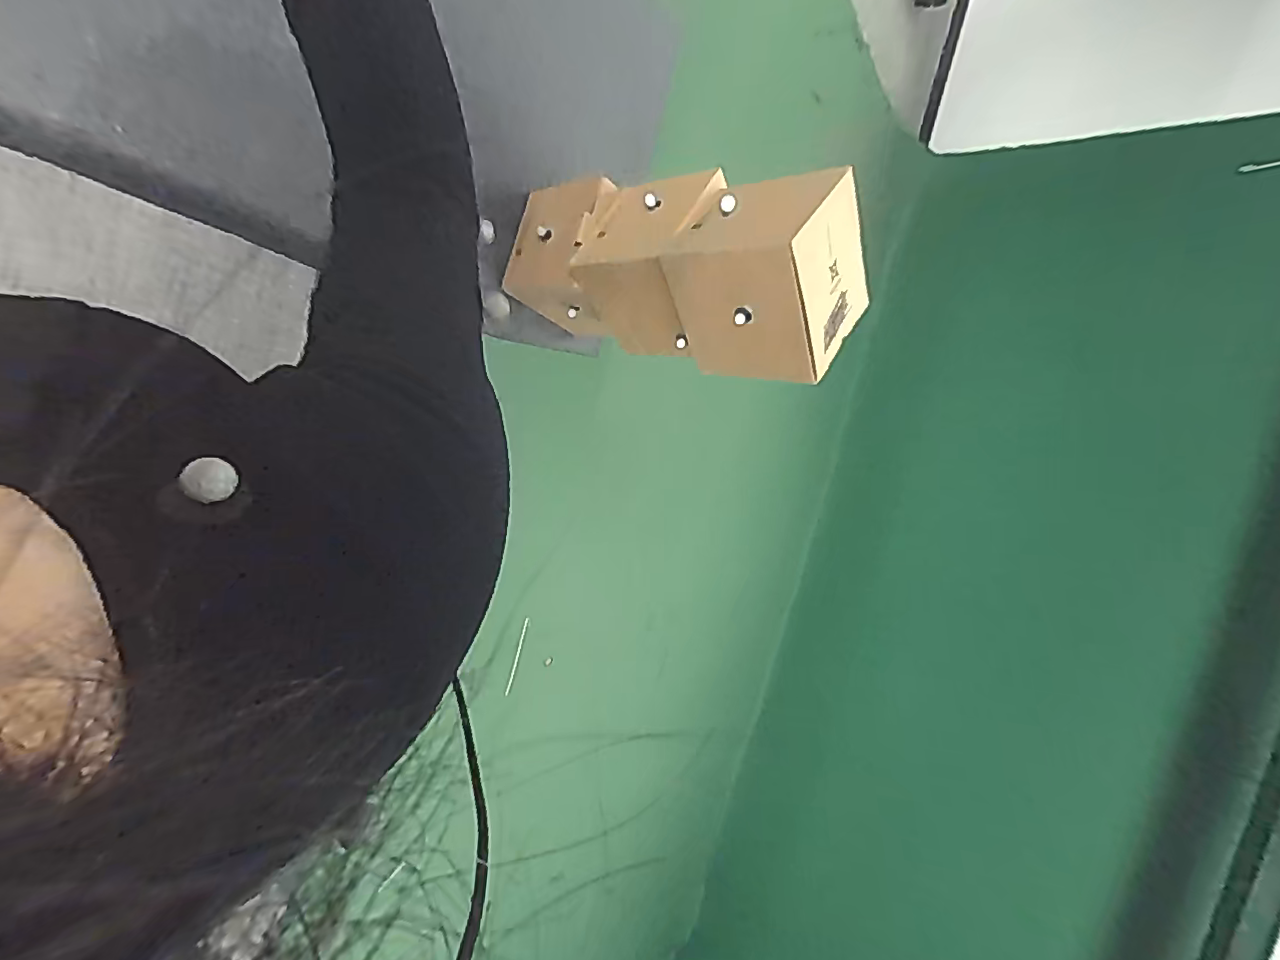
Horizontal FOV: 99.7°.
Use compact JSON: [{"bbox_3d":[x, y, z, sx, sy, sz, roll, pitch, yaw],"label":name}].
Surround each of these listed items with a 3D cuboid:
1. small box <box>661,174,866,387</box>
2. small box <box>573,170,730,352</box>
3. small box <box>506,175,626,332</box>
[{"bbox_3d":[0.154,-0.238,0.658,0.168,0.176,0.179,-52,135,-27],"label":"small box"},{"bbox_3d":[0.037,-0.294,0.762,0.168,0.176,0.179,-60,139,-19],"label":"small box"},{"bbox_3d":[-0.083,-0.343,0.862,0.179,0.176,0.168,20,86,-50],"label":"small box"}]
